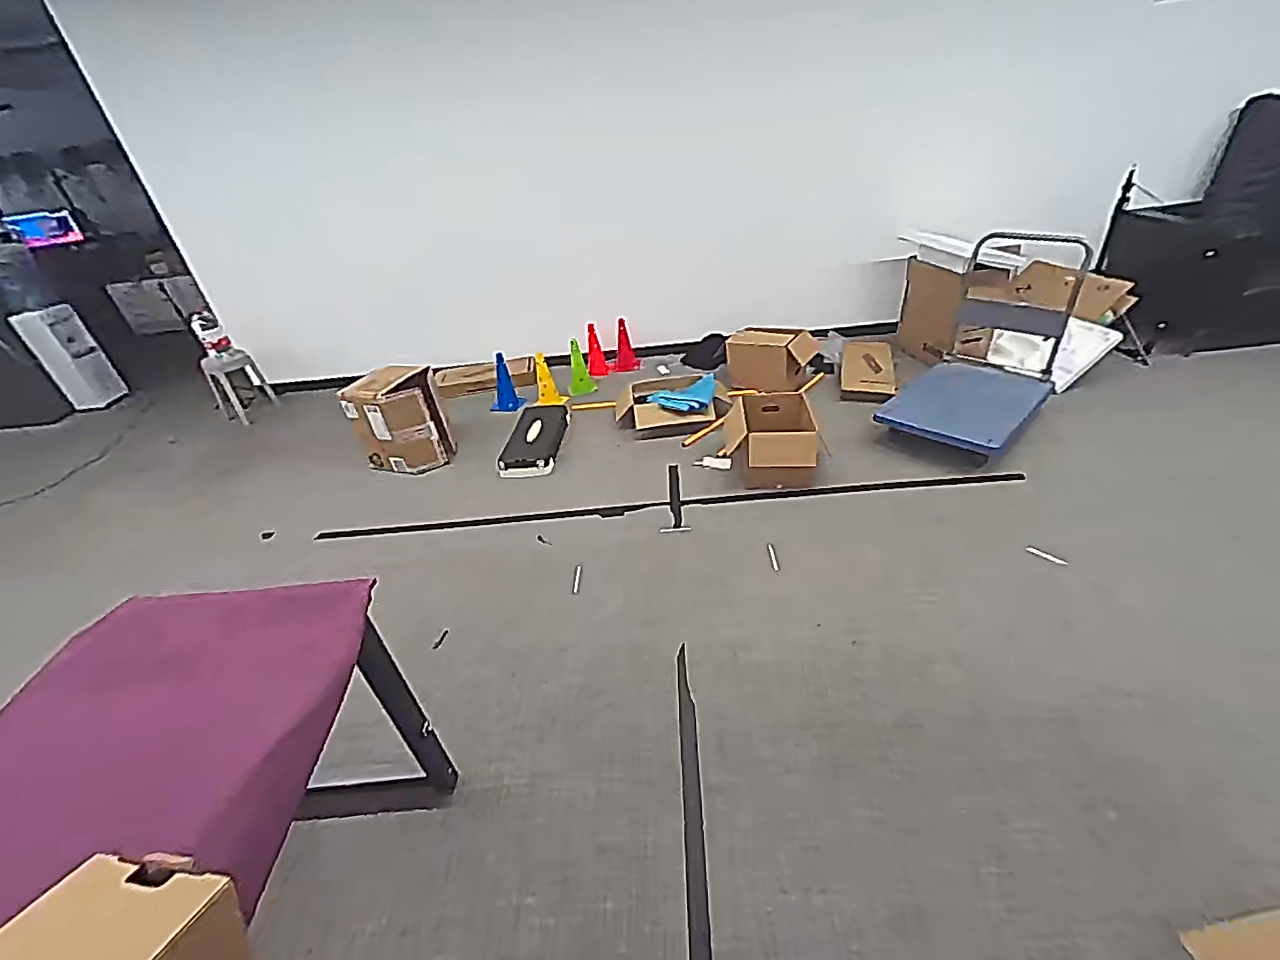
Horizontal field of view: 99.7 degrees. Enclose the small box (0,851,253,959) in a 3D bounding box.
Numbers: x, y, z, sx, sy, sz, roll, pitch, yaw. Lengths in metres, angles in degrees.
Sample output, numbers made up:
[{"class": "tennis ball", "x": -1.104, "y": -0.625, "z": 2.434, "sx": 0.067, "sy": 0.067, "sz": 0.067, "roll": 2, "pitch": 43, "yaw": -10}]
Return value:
[{"class": "small box", "x": -0.472, "y": 0.474, "z": 0.466, "sx": 0.168, "sy": 0.176, "sz": 0.179, "roll": 1, "pitch": 14, "yaw": 12}]
